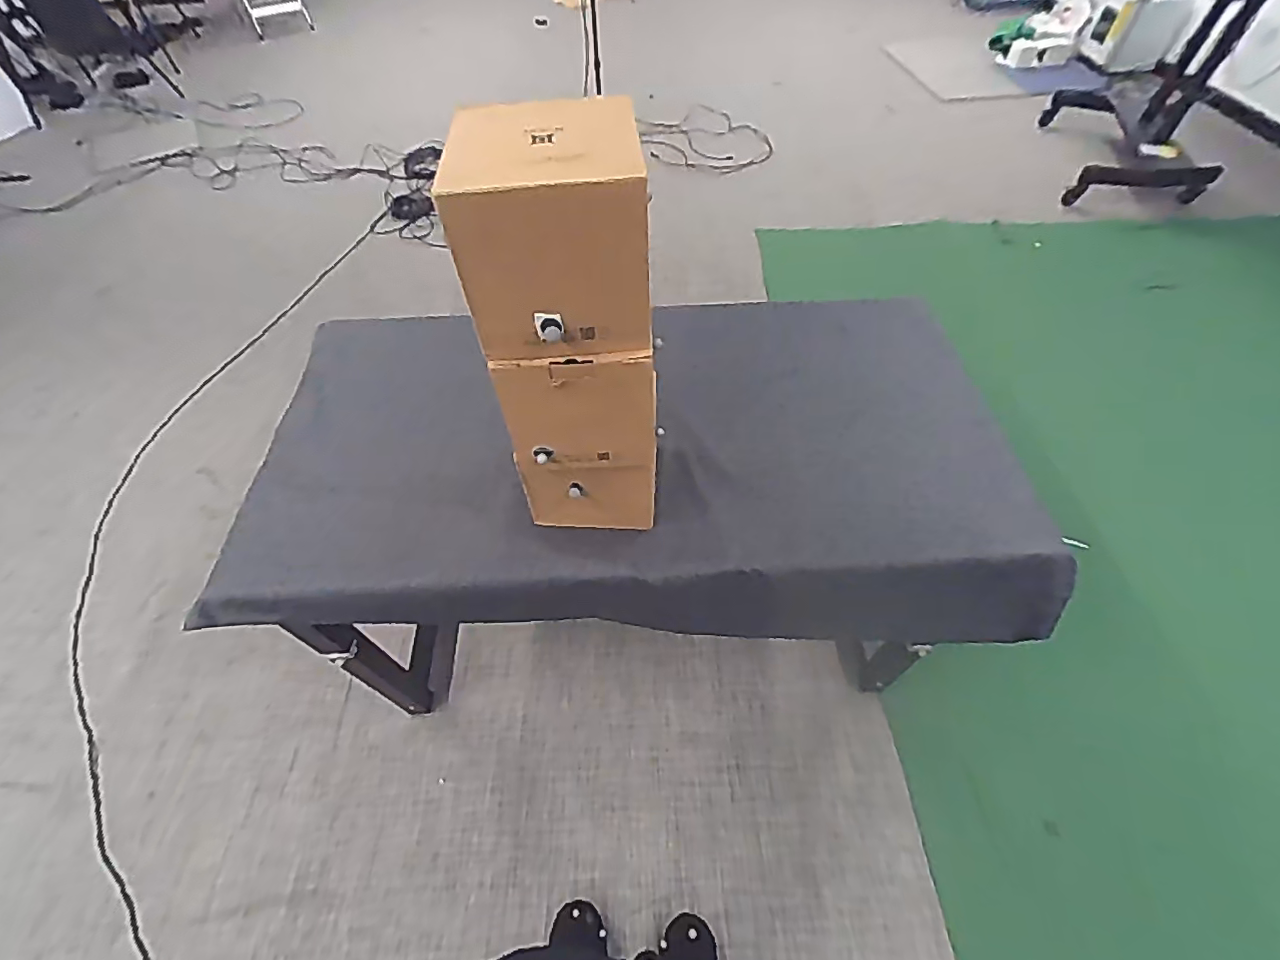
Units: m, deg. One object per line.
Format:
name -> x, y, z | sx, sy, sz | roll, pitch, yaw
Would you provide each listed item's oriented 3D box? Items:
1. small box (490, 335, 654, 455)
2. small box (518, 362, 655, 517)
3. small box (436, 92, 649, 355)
small box -> -0.073, -0.143, 0.654 | 0.168, 0.176, 0.179 | -5, 55, -1
small box -> -0.067, -0.056, 0.797 | 0.179, 0.176, 0.168 | 0, 52, 1
small box -> -0.081, -0.247, 0.530 | 0.168, 0.176, 0.179 | -6, 54, -1
